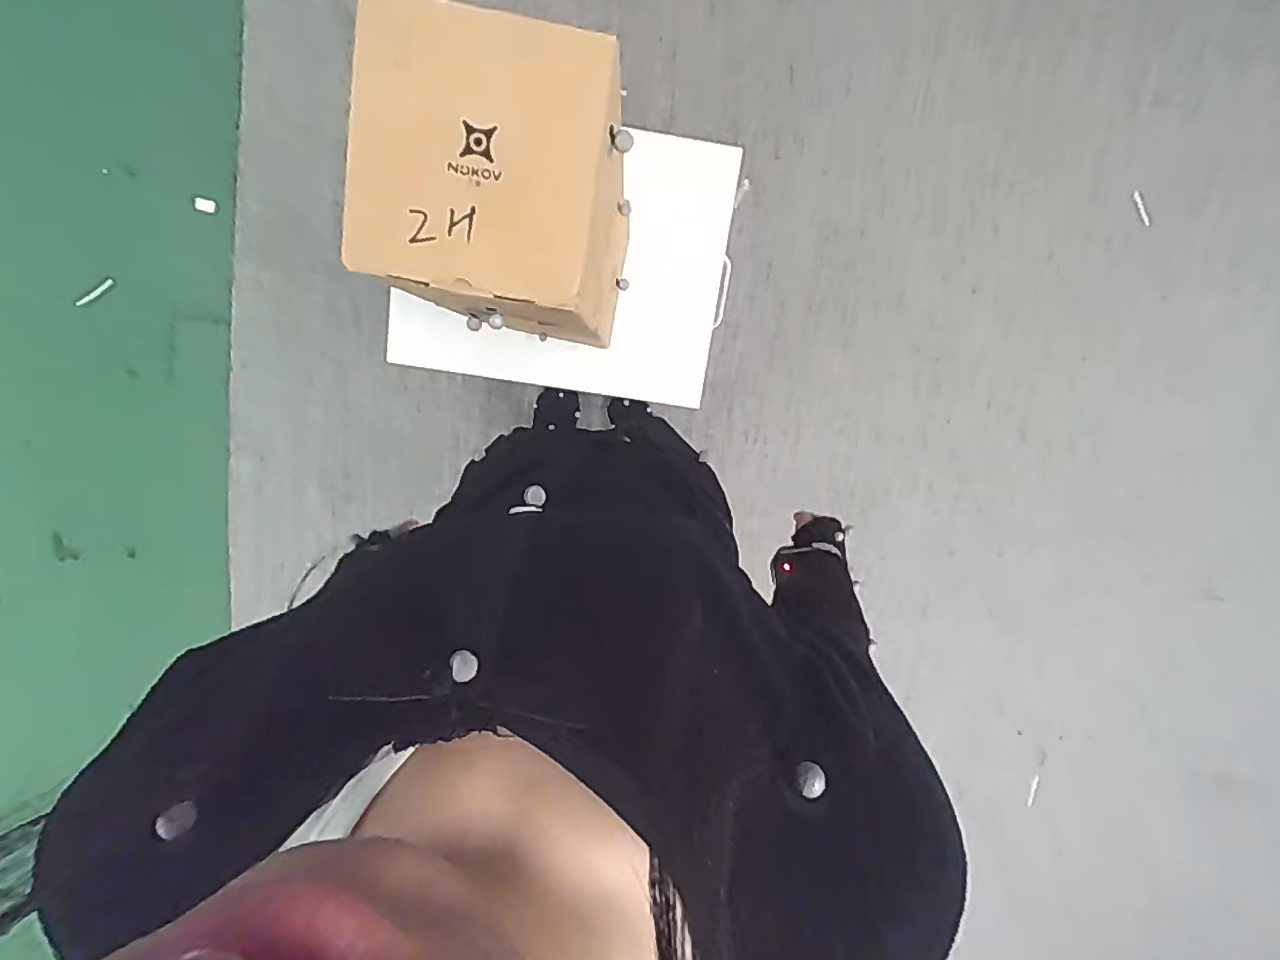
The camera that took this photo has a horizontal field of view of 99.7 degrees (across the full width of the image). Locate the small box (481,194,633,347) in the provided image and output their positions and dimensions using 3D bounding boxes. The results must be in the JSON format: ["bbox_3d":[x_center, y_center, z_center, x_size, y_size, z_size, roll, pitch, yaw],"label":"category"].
[{"bbox_3d":[-0.108,-0.292,0.749,0.168,0.176,0.179,11,99,-3],"label":"small box"}]

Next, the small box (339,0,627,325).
[{"bbox_3d":[-0.106,-0.232,0.426,0.168,0.176,0.179,9,100,-3],"label":"small box"}]
